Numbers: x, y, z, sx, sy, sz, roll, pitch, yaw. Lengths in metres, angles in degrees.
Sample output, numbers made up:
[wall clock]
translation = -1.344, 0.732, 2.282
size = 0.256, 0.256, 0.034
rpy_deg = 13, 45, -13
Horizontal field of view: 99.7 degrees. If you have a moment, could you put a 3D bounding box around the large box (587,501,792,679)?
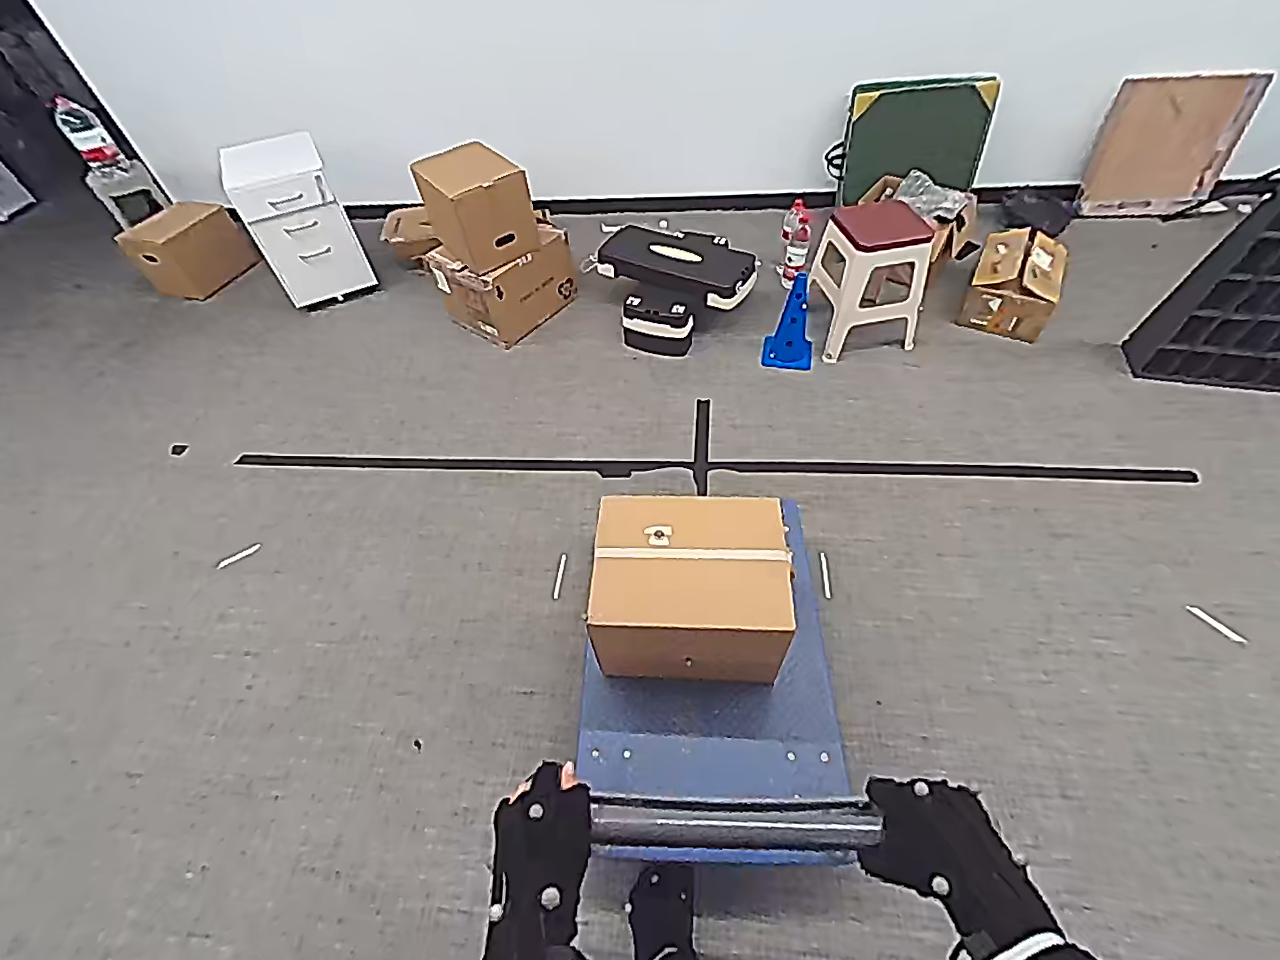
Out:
[large box]
translation = 0.112, 0.261, 1.251
size = 0.408, 0.320, 0.320
rpy_deg = 0, 52, 5
